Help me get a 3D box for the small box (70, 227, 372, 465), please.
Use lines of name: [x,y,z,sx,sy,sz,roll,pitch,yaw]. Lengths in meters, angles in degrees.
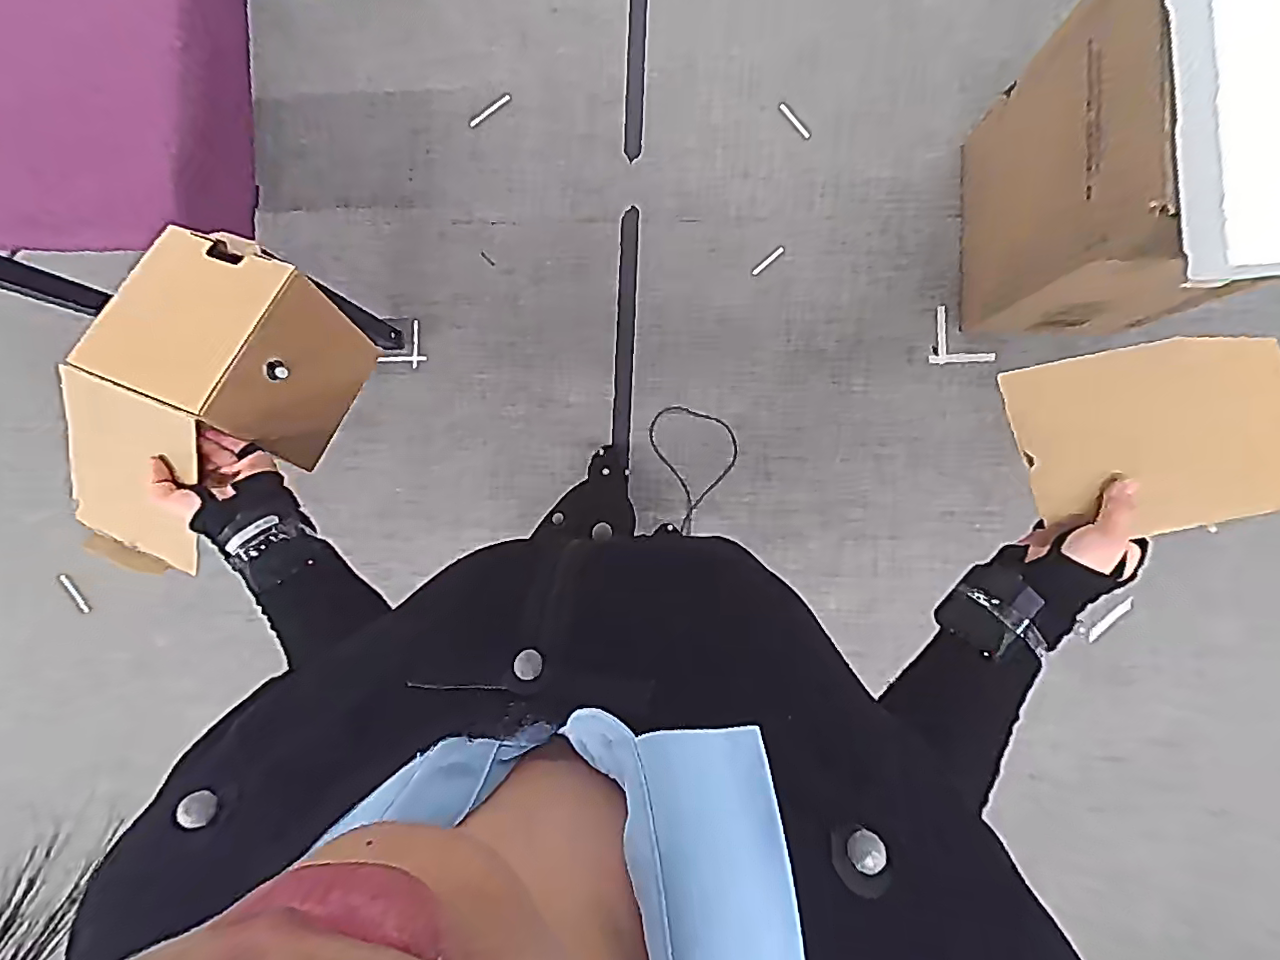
small box: [-0.442,-0.137,0.607,0.168,0.176,0.179,20,74,9]
